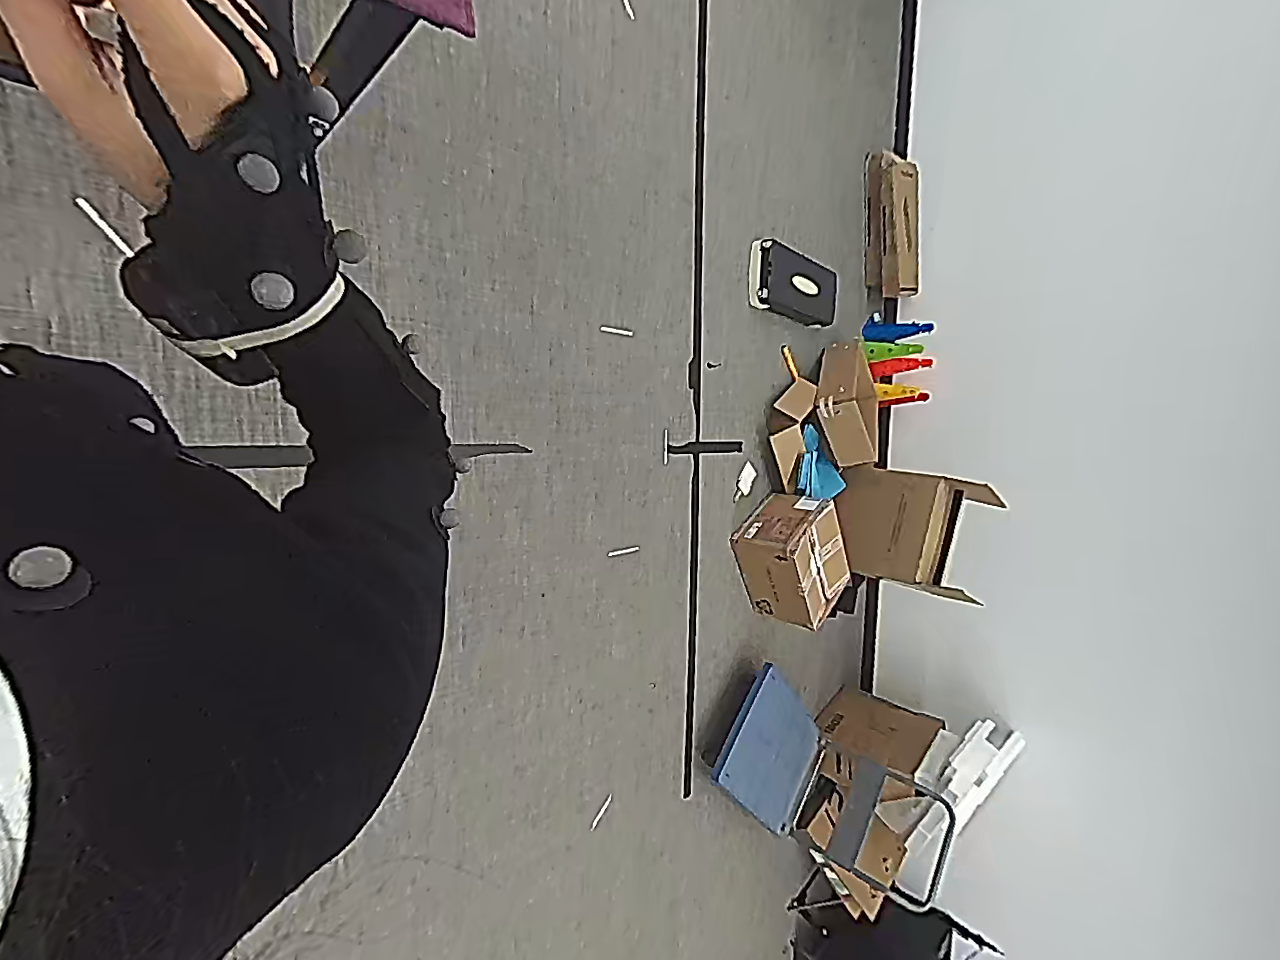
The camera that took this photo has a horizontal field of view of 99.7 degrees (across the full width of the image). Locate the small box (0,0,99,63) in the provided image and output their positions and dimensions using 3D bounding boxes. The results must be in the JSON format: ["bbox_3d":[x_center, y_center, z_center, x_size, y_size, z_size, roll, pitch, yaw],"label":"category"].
[{"bbox_3d":[-0.275,-0.251,0.134,0.179,0.176,0.168,-7,104,-39],"label":"small box"}]
